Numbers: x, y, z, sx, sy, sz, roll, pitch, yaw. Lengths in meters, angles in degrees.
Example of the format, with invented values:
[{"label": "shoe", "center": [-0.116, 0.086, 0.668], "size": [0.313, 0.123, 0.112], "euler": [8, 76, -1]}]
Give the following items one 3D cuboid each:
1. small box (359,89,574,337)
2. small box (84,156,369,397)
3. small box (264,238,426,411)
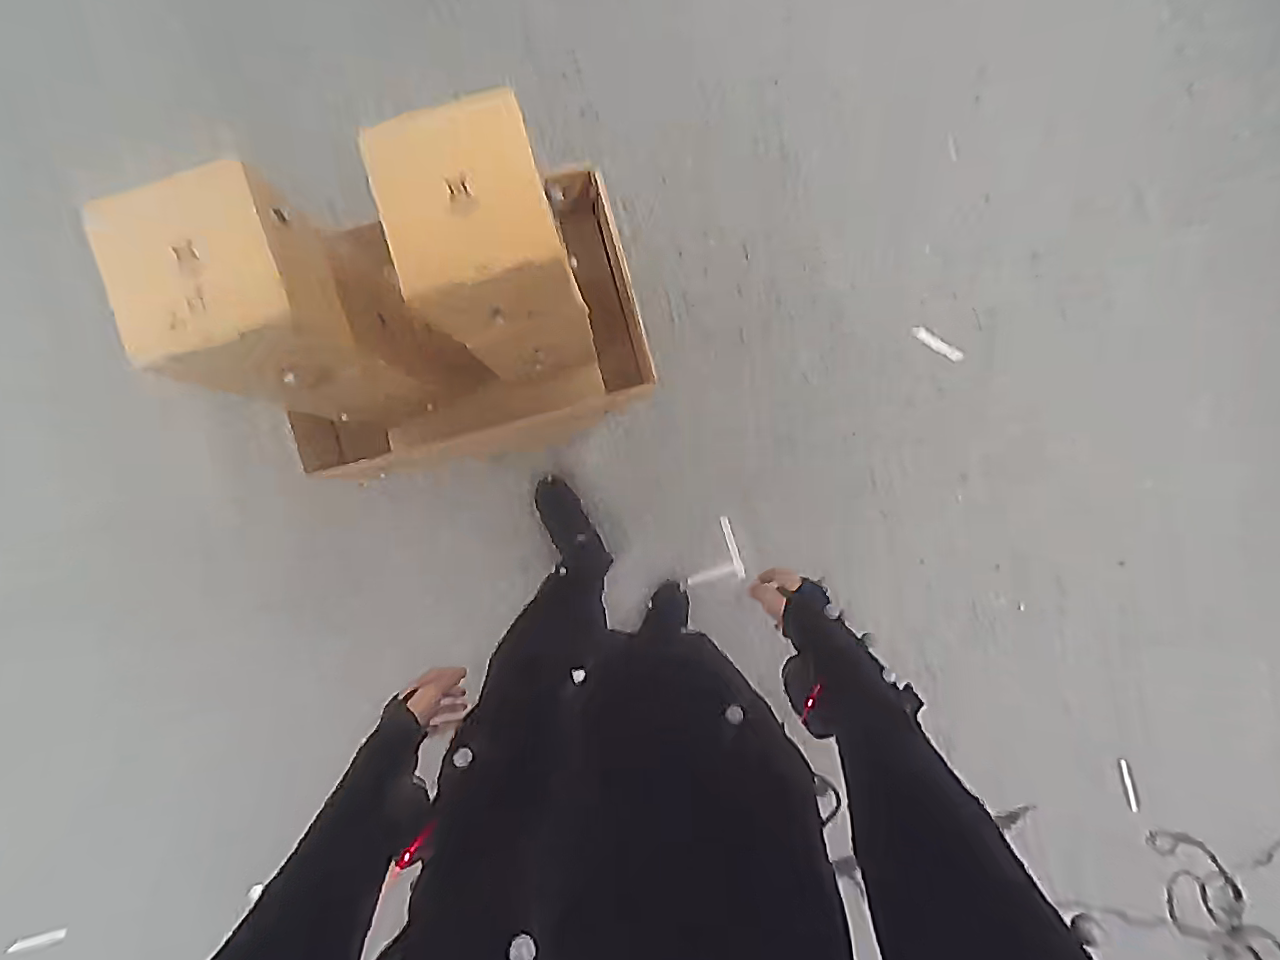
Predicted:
[{"label": "small box", "center": [-0.181, -0.287, 0.618], "size": [0.168, 0.176, 0.179], "euler": [-17, 91, -1]}, {"label": "small box", "center": [-0.446, -0.214, 0.613], "size": [0.168, 0.176, 0.179], "euler": [-21, 88, -1]}, {"label": "small box", "center": [-0.436, -0.207, 0.779], "size": [0.168, 0.176, 0.179], "euler": [-19, 88, -2]}]
